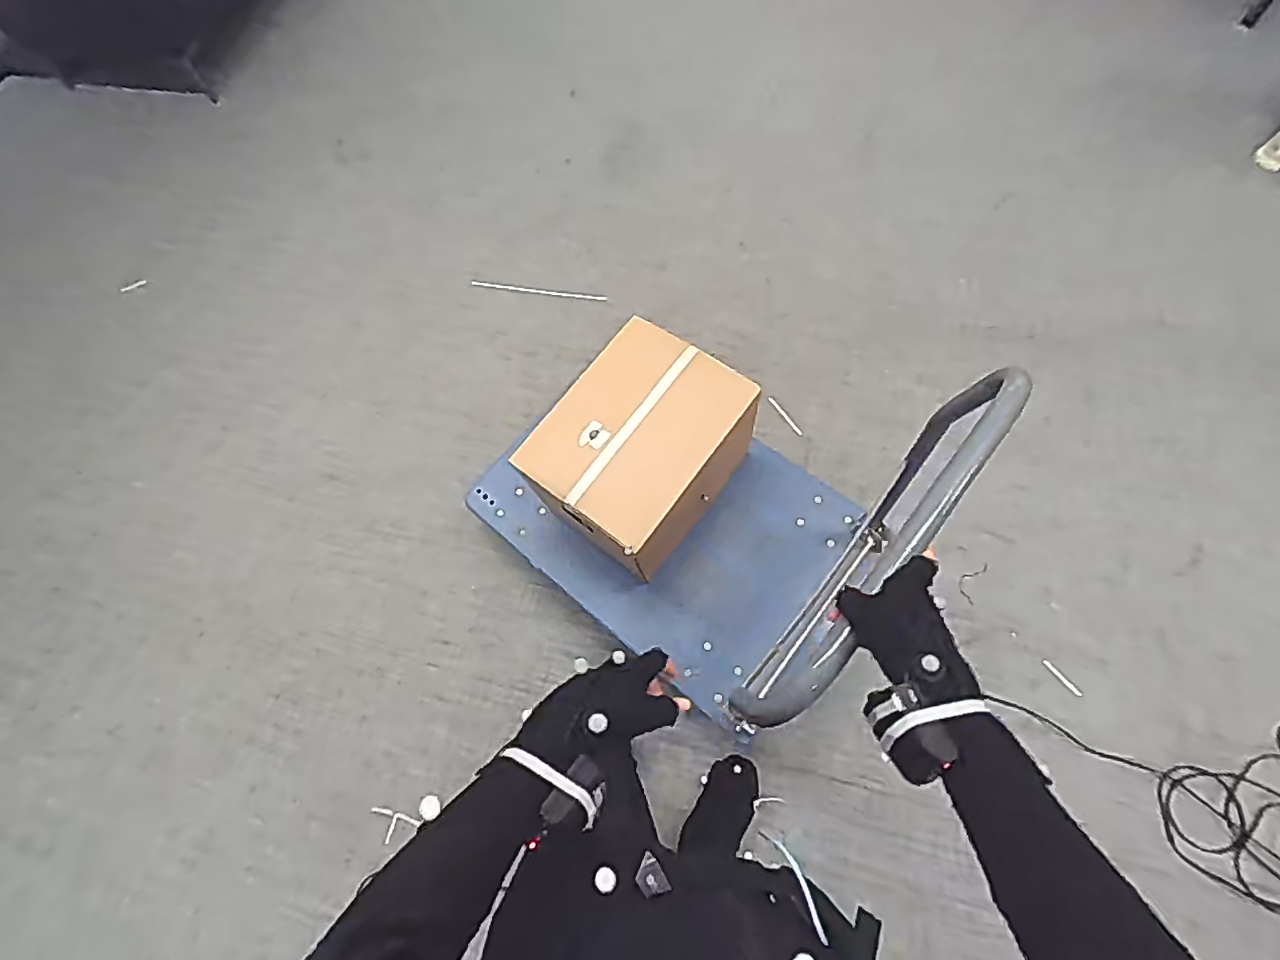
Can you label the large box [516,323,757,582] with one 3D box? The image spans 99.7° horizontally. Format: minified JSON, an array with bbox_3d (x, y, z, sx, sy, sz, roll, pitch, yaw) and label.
[{"bbox_3d":[0.010,-0.046,1.179,0.320,0.320,0.408,34,78,18],"label":"large box"}]
